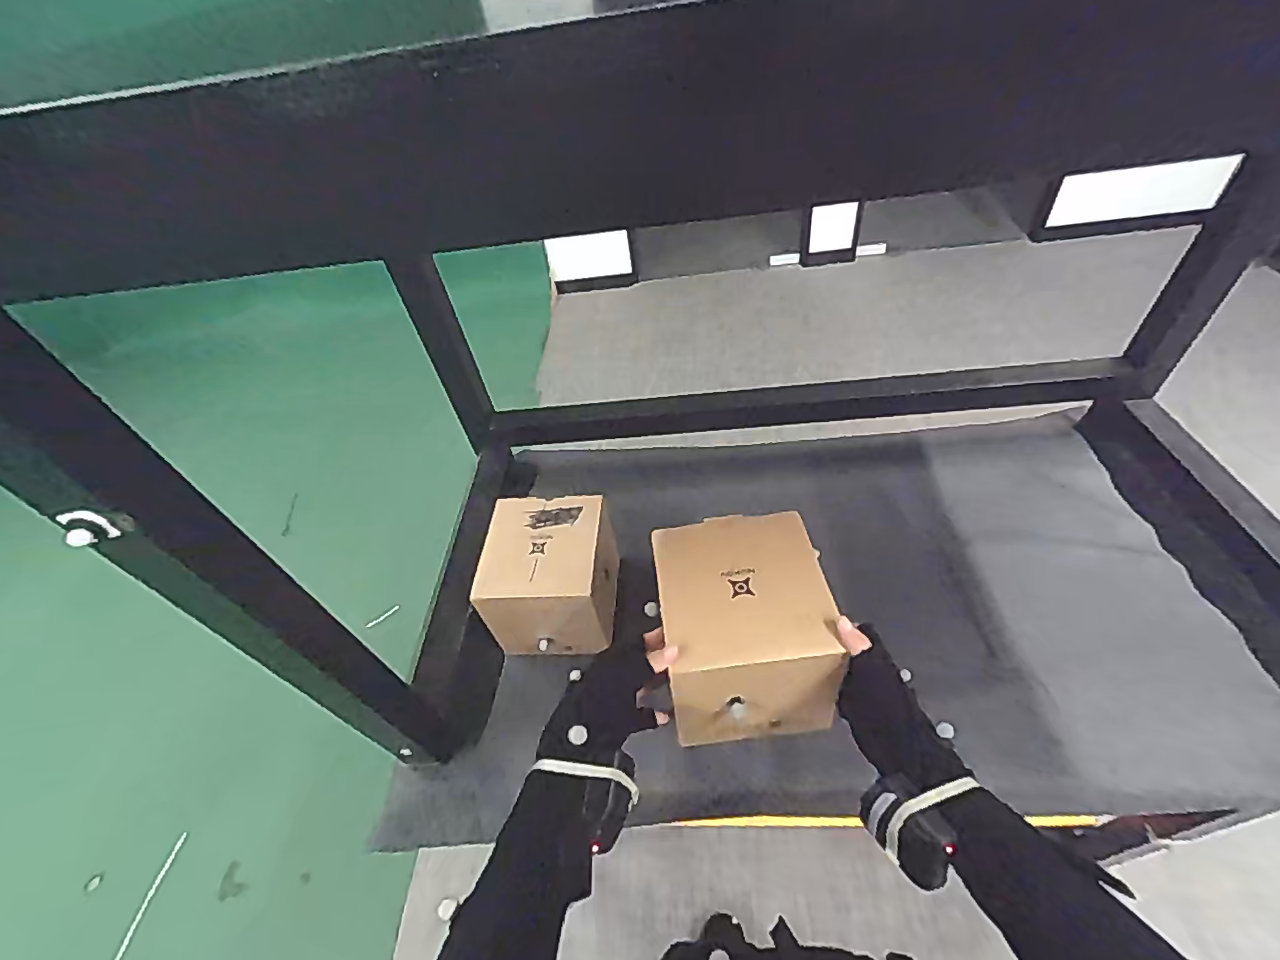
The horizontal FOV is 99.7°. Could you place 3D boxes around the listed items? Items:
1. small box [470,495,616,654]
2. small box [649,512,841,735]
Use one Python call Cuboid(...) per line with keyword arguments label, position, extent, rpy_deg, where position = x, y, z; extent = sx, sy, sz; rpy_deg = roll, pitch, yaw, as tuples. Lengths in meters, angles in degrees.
Cuboid(label="small box", position=(-0.132, 0.143, 0.818), extent=(0.168, 0.176, 0.179), rpy_deg=(-3, 47, 7))
Cuboid(label="small box", position=(0.105, 0.162, 0.598), extent=(0.168, 0.176, 0.179), rpy_deg=(-8, 42, 1))
